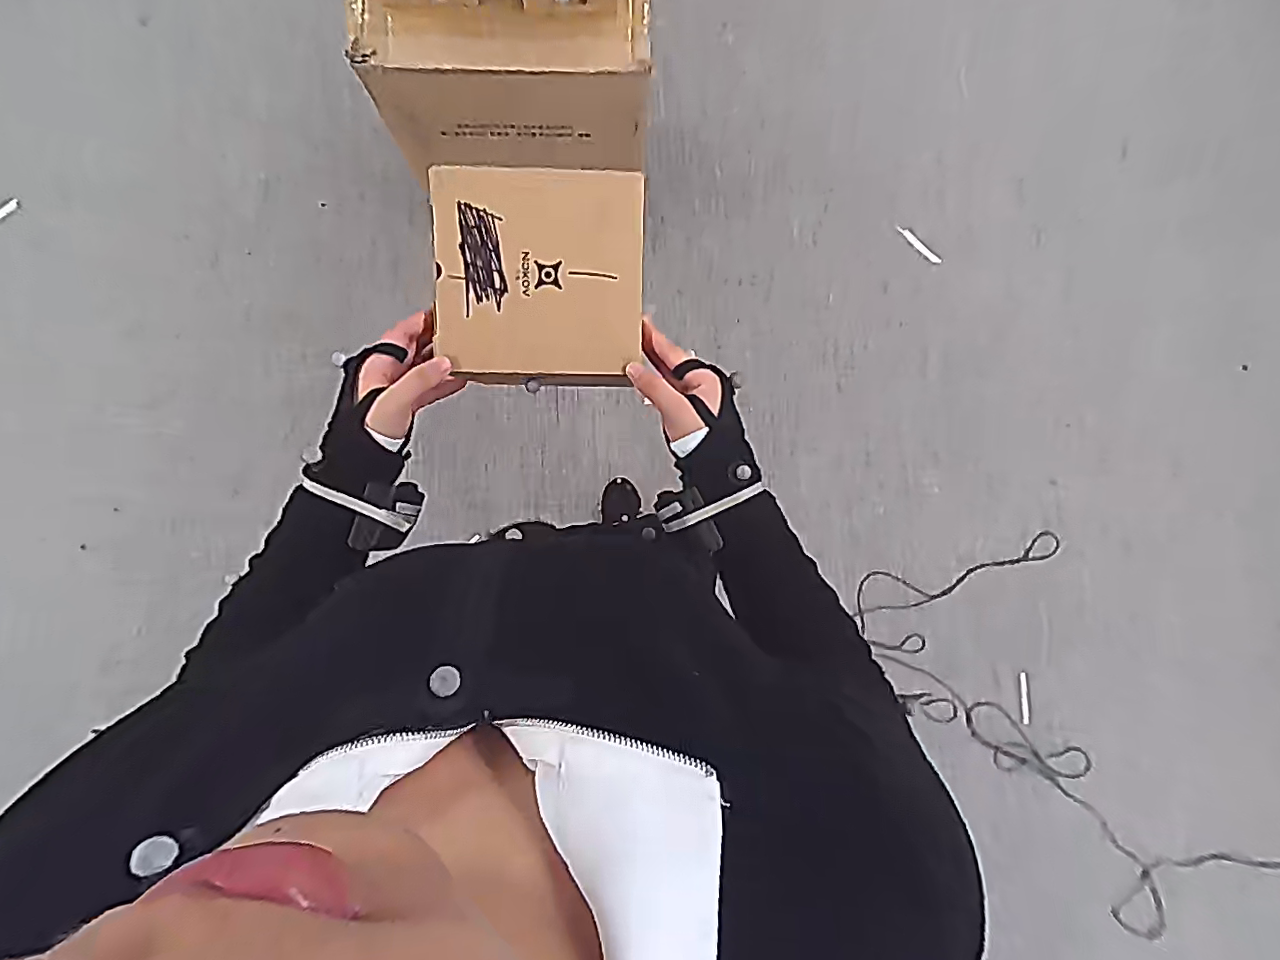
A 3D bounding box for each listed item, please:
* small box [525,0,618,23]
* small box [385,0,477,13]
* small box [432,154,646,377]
[{"bbox_3d":[-0.119,-0.899,0.878,0.168,0.176,0.179,-1,87,0],"label":"small box"},{"bbox_3d":[-0.362,-0.909,0.866,0.168,0.176,0.179,-2,86,-4],"label":"small box"},{"bbox_3d":[-0.087,-0.190,0.527,0.179,0.176,0.168,0,97,-3],"label":"small box"}]
